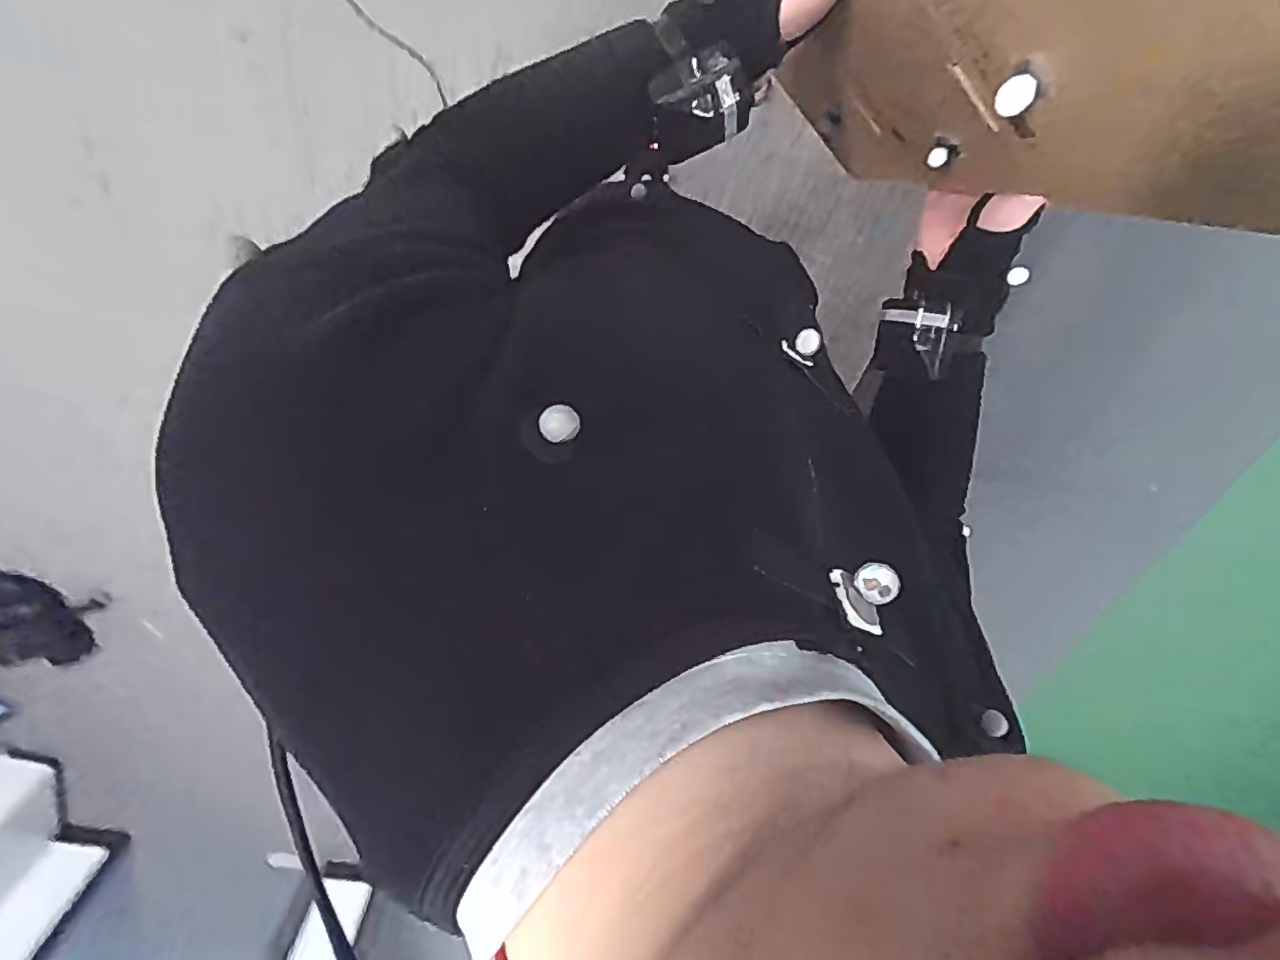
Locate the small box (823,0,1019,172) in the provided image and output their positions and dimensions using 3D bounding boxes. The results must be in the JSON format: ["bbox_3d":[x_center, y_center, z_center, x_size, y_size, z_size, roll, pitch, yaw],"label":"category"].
[{"bbox_3d":[0.236,-0.313,0.325,0.168,0.176,0.179,35,113,-22],"label":"small box"}]

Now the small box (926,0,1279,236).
[{"bbox_3d":[0.241,-0.222,0.189,0.168,0.176,0.179,37,115,-22],"label":"small box"}]

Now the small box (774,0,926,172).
[{"bbox_3d":[0.235,-0.400,0.463,0.168,0.176,0.179,37,114,-22],"label":"small box"}]
